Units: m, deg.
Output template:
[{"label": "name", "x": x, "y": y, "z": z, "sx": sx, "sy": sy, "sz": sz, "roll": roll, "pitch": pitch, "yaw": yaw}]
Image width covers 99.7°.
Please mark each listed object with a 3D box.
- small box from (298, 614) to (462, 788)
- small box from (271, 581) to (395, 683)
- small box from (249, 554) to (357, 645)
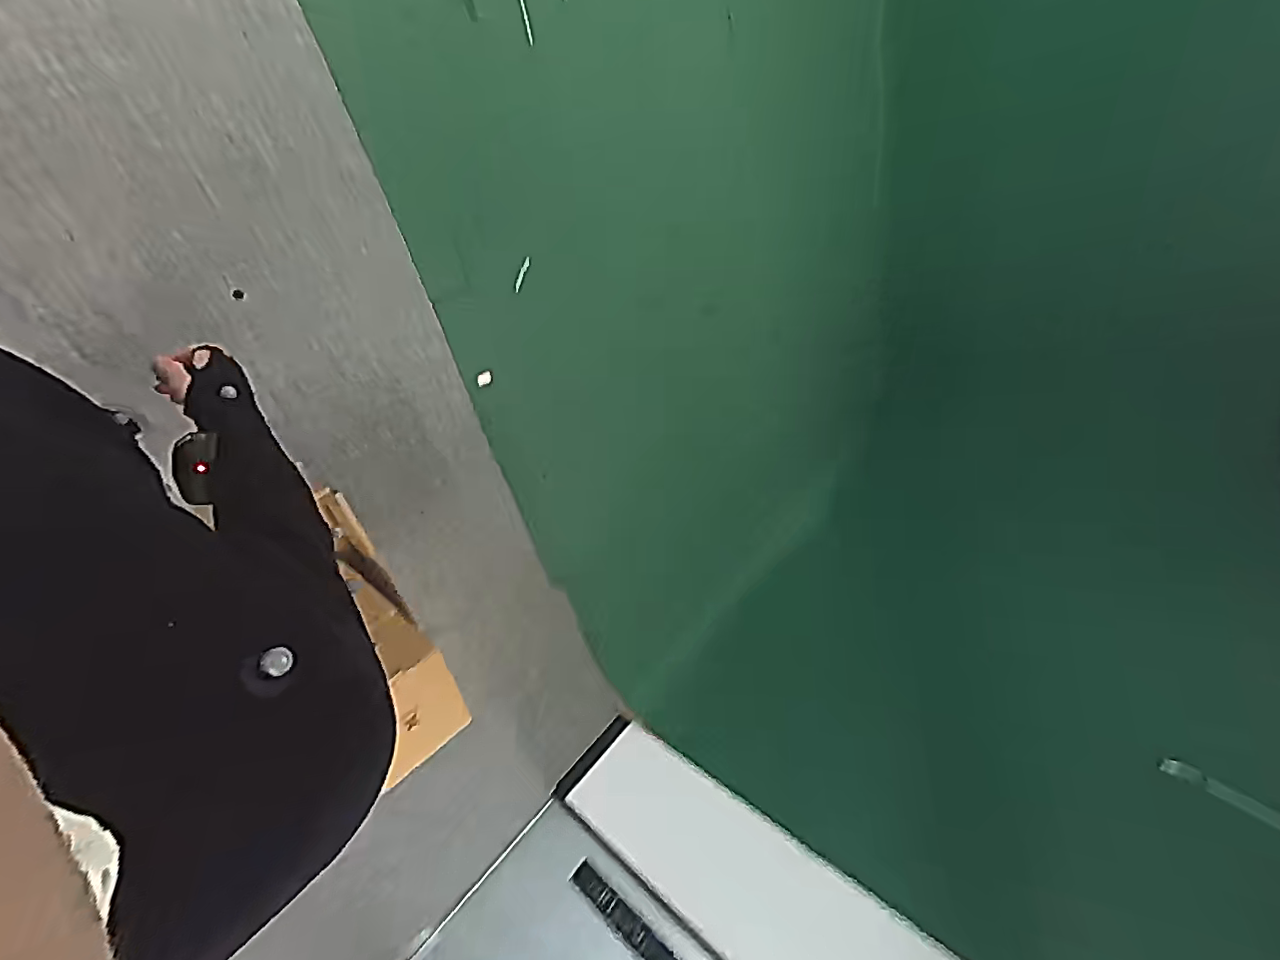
[{"label": "small box", "x": -0.433, "y": 0.358, "z": 0.907, "sx": 0.168, "sy": 0.176, "sz": 0.179, "roll": -33, "pitch": 125, "yaw": -37}, {"label": "small box", "x": -0.549, "y": 0.320, "z": 1.015, "sx": 0.168, "sy": 0.176, "sz": 0.179, "roll": -35, "pitch": 126, "yaw": -37}, {"label": "small box", "x": -0.667, "y": 0.283, "z": 1.123, "sx": 0.168, "sy": 0.176, "sz": 0.179, "roll": -37, "pitch": 128, "yaw": -34}]
